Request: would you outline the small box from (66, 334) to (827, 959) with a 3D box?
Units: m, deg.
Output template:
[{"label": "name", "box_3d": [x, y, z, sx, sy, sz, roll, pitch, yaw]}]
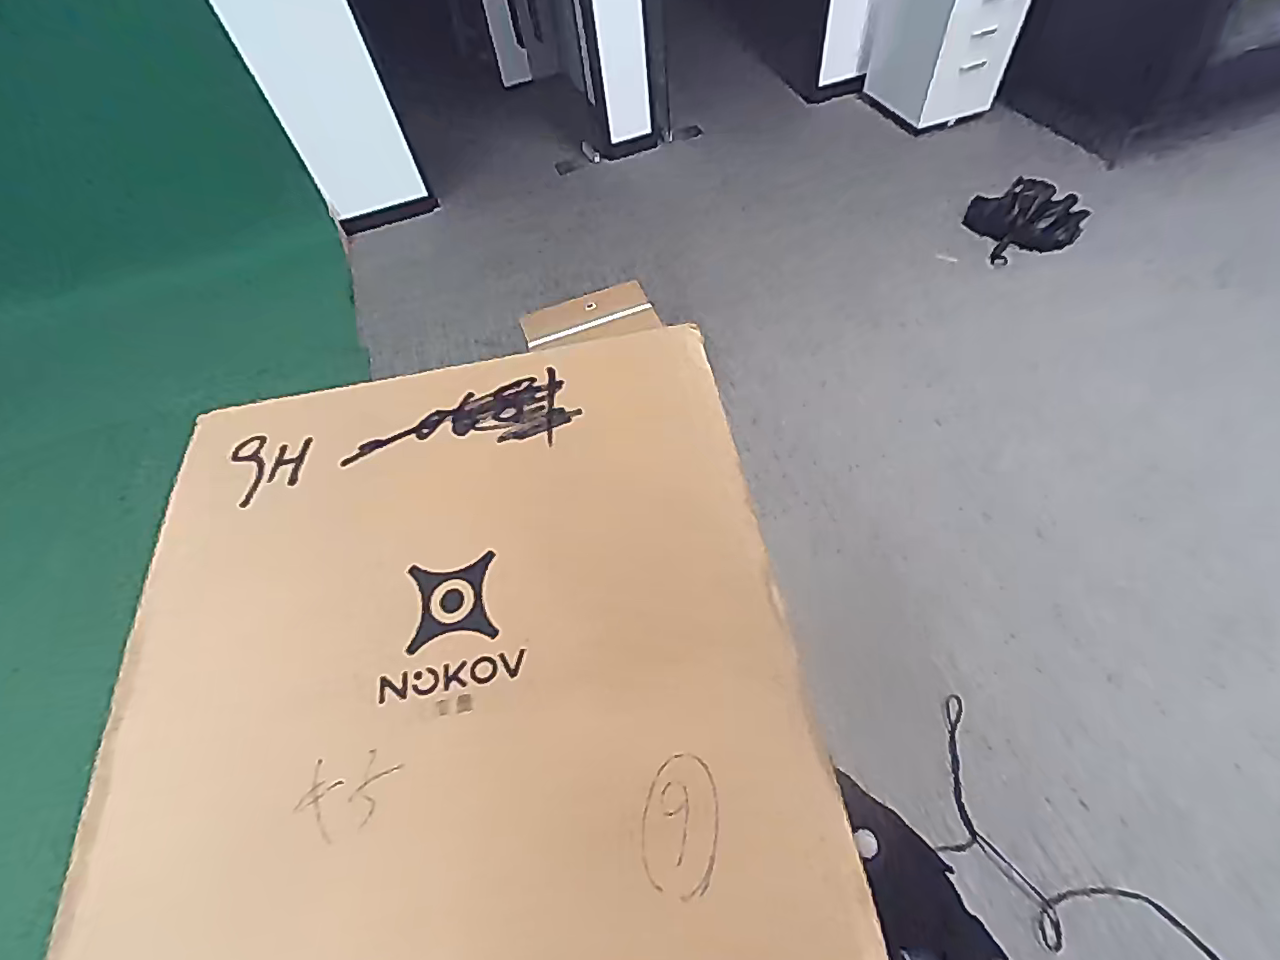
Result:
[{"label": "small box", "box_3d": [-0.046, 0.077, 0.214, 0.168, 0.176, 0.179, -10, 63, 0]}]
